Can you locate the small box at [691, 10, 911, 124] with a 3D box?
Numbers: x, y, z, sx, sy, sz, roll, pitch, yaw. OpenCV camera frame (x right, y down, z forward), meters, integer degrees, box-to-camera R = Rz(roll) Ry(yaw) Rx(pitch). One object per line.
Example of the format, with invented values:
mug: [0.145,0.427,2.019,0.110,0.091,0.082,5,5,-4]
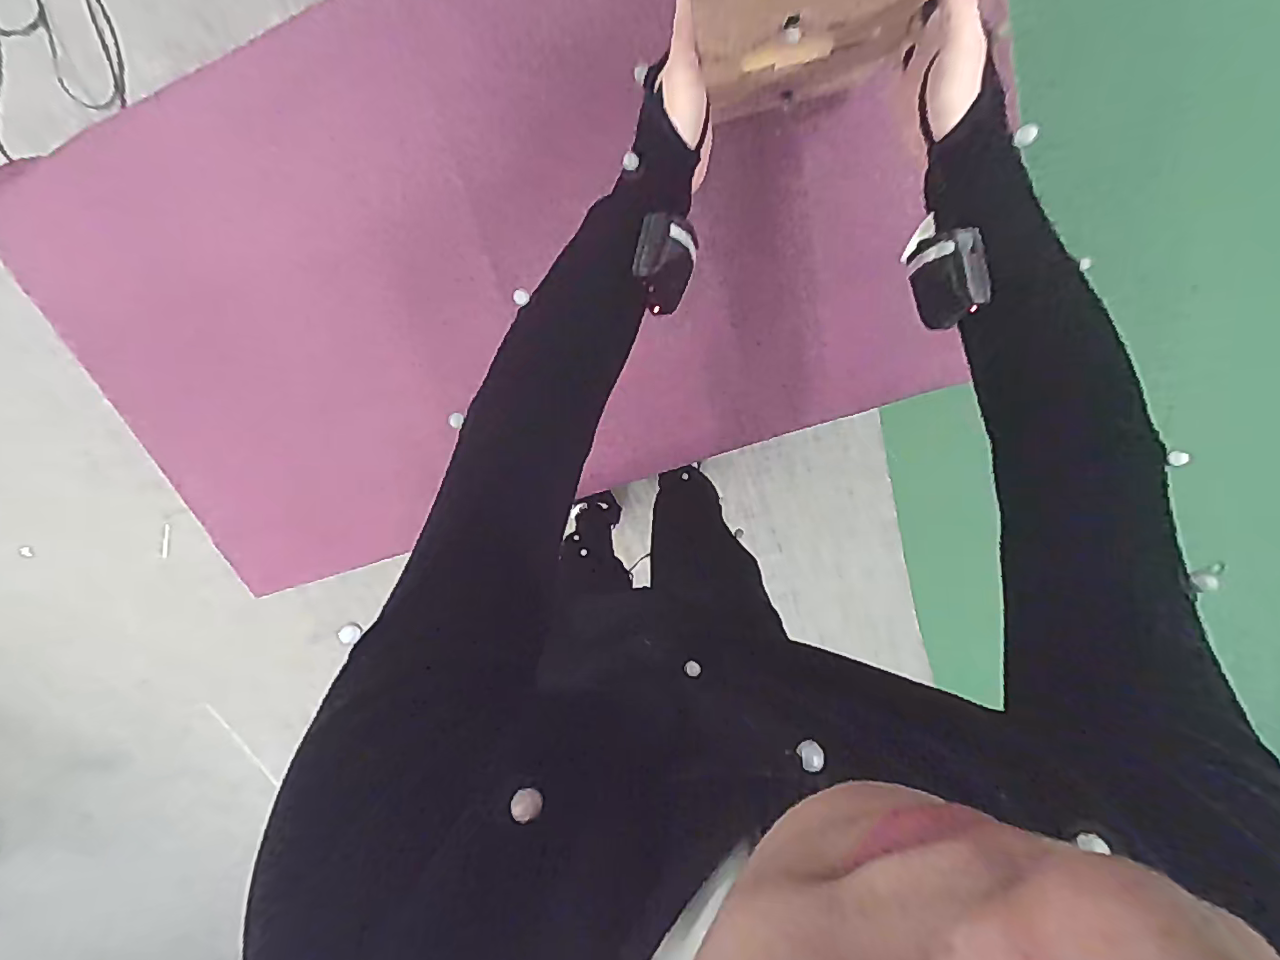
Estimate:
small box: [0.125,-0.444,0.473,0.168,0.176,0.179,-7,113,12]

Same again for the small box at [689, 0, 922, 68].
small box: [0.104,-0.389,0.322,0.168,0.176,0.179,-6,113,11]
